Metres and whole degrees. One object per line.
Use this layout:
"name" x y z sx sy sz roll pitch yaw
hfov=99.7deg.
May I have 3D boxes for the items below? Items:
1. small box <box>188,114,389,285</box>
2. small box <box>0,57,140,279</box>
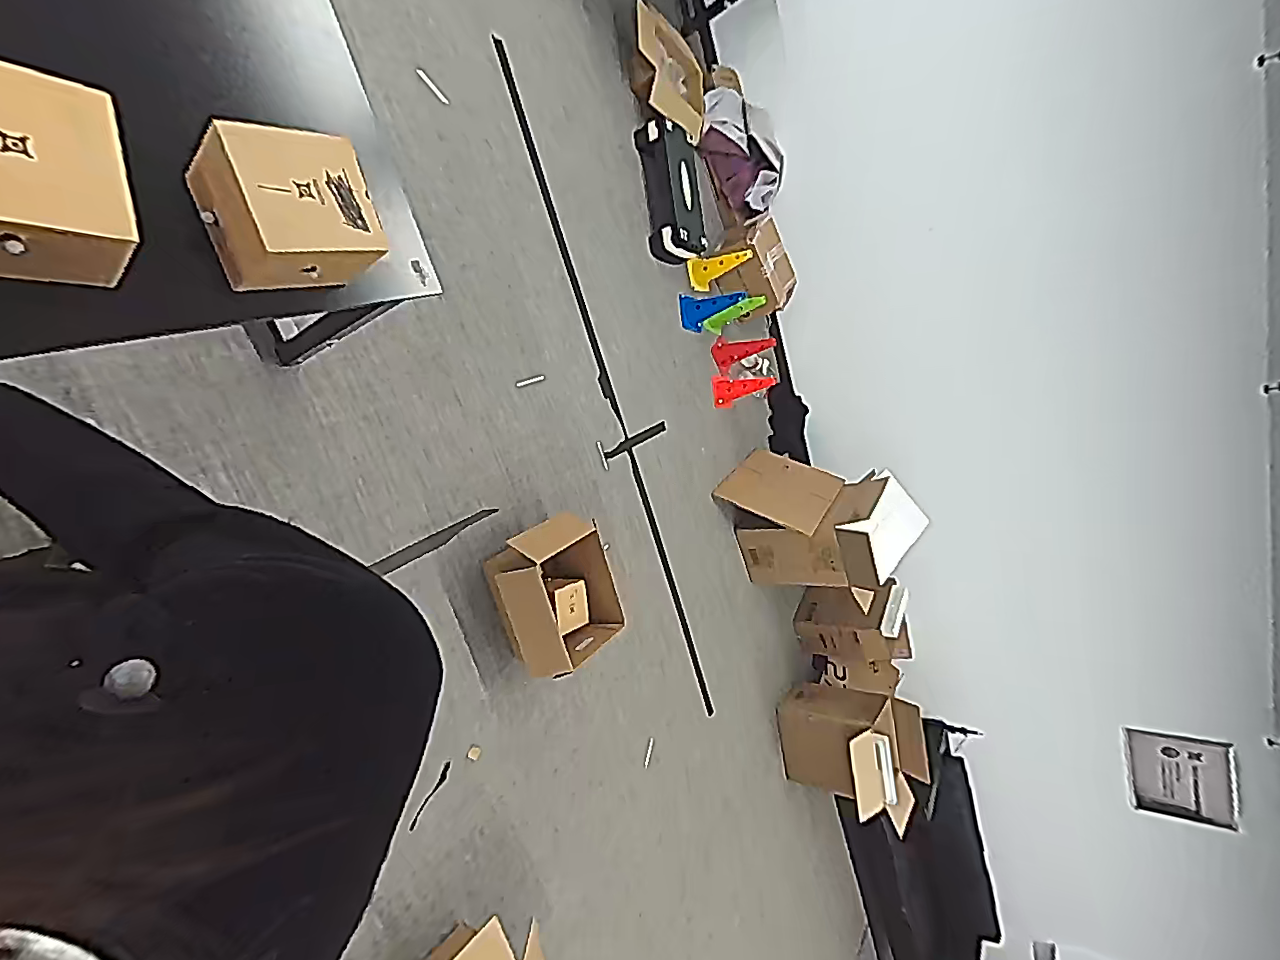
"small box" -0.514 -0.397 0.795 0.179 0.176 0.168 -30 108 -47
"small box" -0.686 -0.329 0.583 0.179 0.176 0.168 -14 95 -50
